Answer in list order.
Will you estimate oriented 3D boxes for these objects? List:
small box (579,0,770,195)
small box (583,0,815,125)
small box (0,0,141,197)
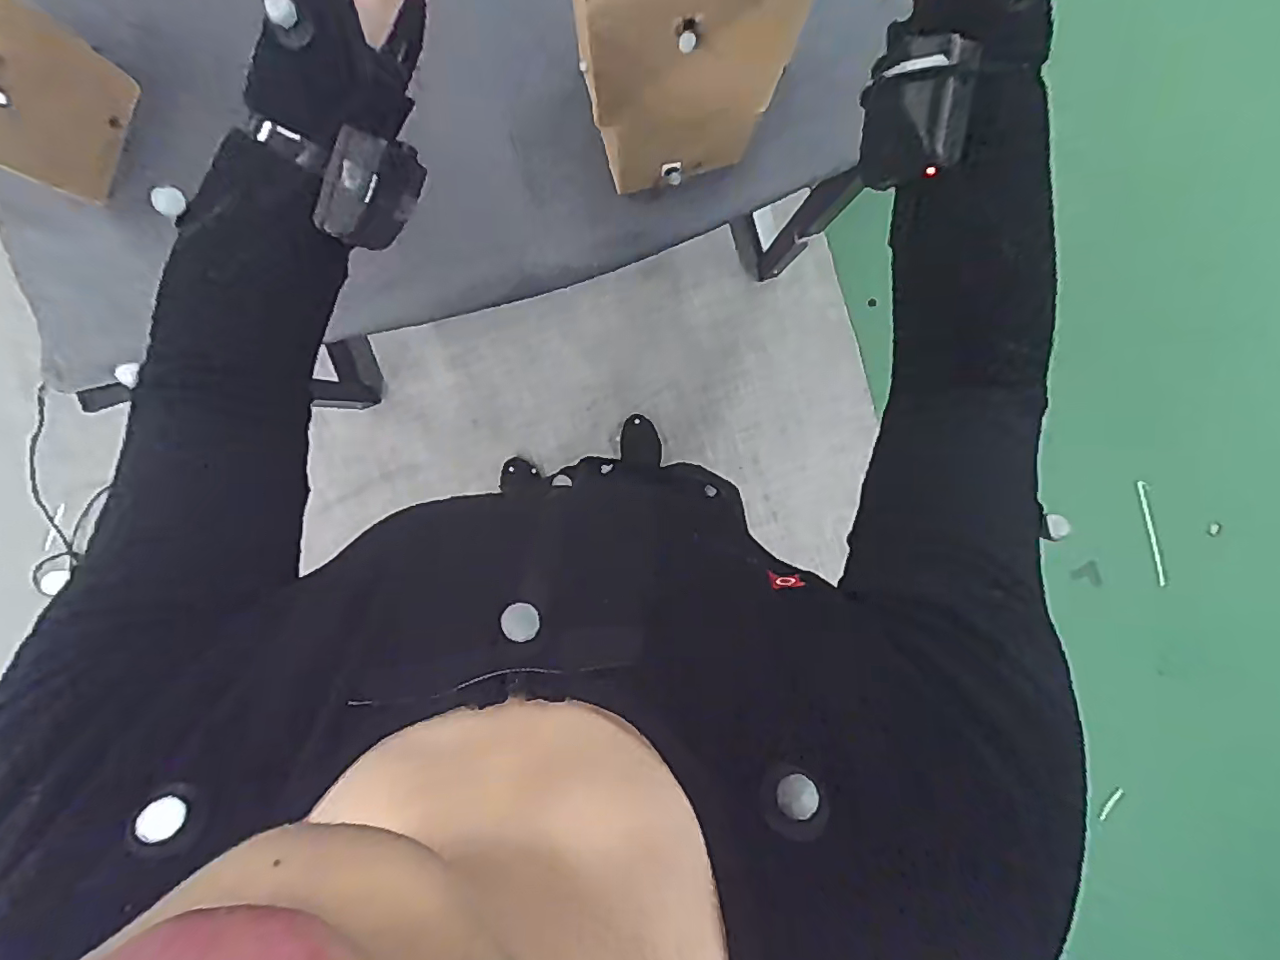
[{"bbox_3d":[0.031,-0.467,0.619,0.168,0.176,0.179,-16,96,2],"label":"small box"},{"bbox_3d":[0.038,-0.438,0.459,0.179,0.176,0.168,-6,95,1],"label":"small box"},{"bbox_3d":[-0.735,-0.452,0.604,0.179,0.176,0.168,23,95,-4],"label":"small box"}]
